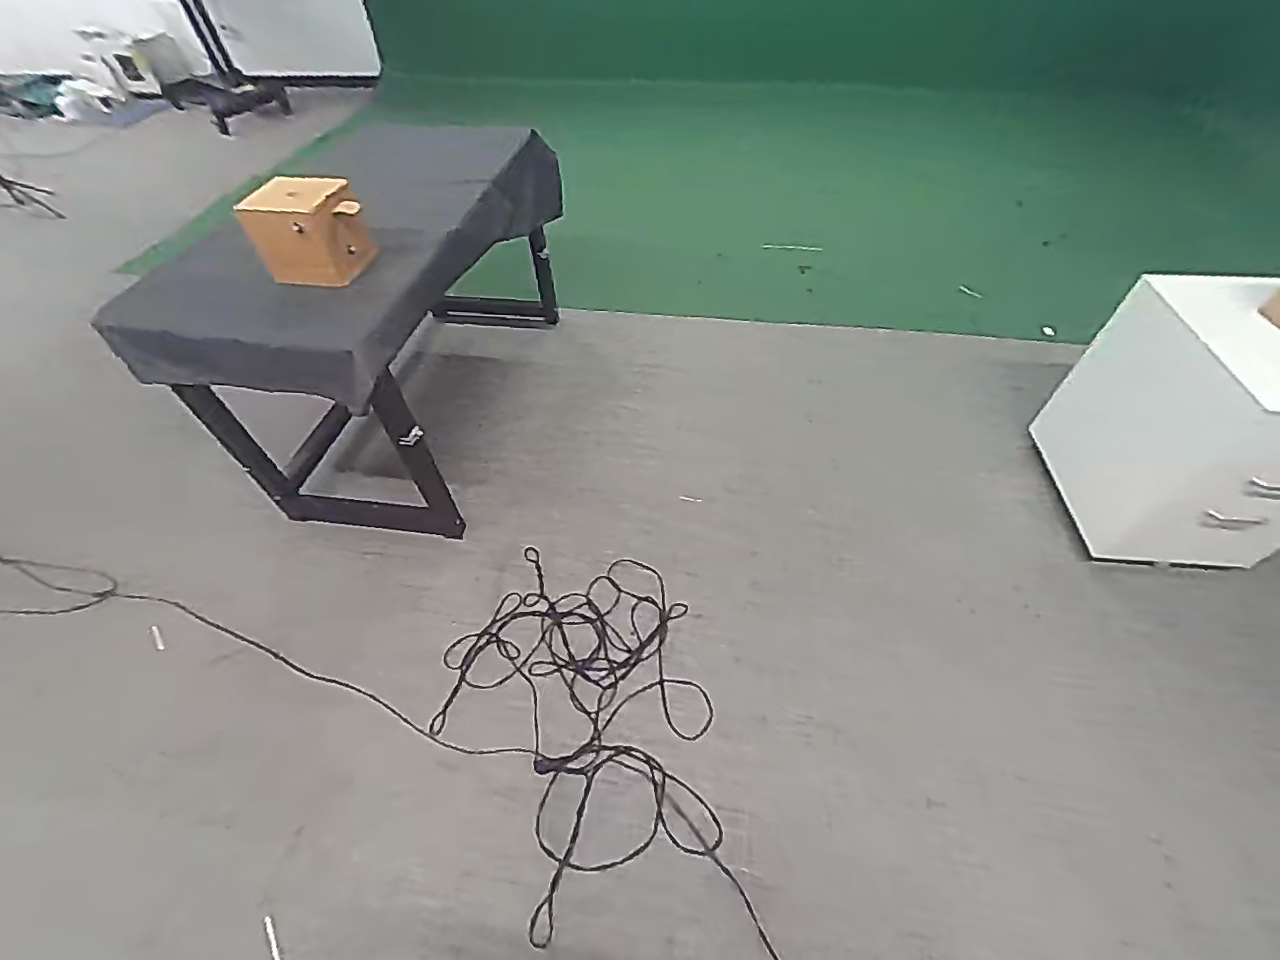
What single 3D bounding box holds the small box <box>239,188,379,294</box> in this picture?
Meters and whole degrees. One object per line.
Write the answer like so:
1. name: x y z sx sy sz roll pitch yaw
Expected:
1. small box: -0.729 -0.536 1.215 0.179 0.176 0.168 5 50 6
